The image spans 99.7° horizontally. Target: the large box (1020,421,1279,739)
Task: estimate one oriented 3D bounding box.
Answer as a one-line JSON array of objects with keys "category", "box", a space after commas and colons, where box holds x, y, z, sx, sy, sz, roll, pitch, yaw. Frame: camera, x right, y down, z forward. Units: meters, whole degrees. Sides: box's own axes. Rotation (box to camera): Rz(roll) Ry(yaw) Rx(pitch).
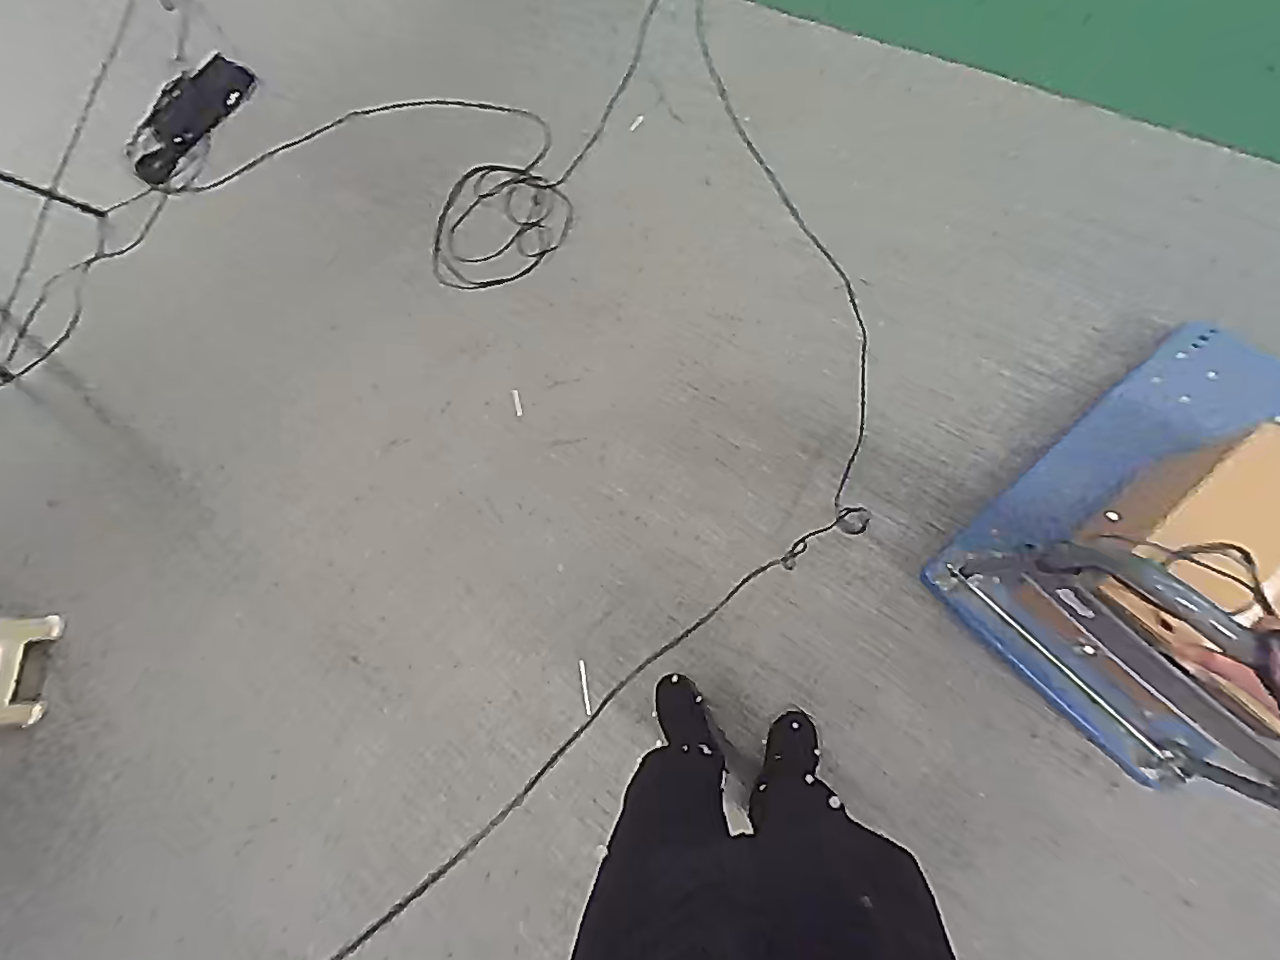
[{"category": "large box", "box": [1.010, 0.179, 0.966, 0.408, 0.320, 0.320, -43, 72, -2]}]
